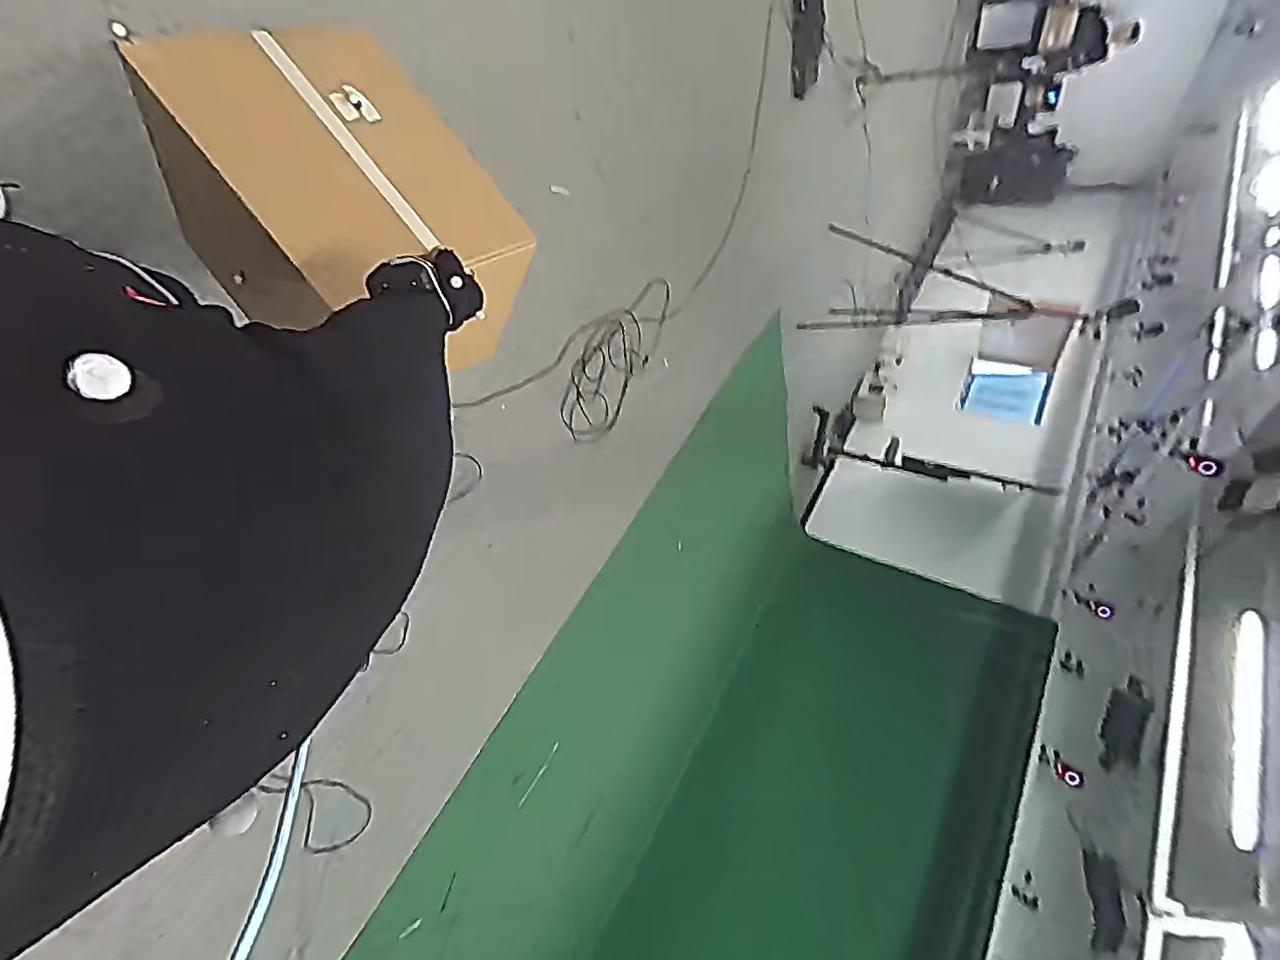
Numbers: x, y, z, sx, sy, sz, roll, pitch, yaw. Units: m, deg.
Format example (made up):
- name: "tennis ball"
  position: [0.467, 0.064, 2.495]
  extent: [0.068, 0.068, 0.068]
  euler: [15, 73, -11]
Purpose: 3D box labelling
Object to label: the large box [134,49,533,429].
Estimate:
- name: "large box"
  position: [-0.441, -0.360, 0.849]
  extent: [0.320, 0.408, 0.320]
  euler: [-39, 179, -35]
